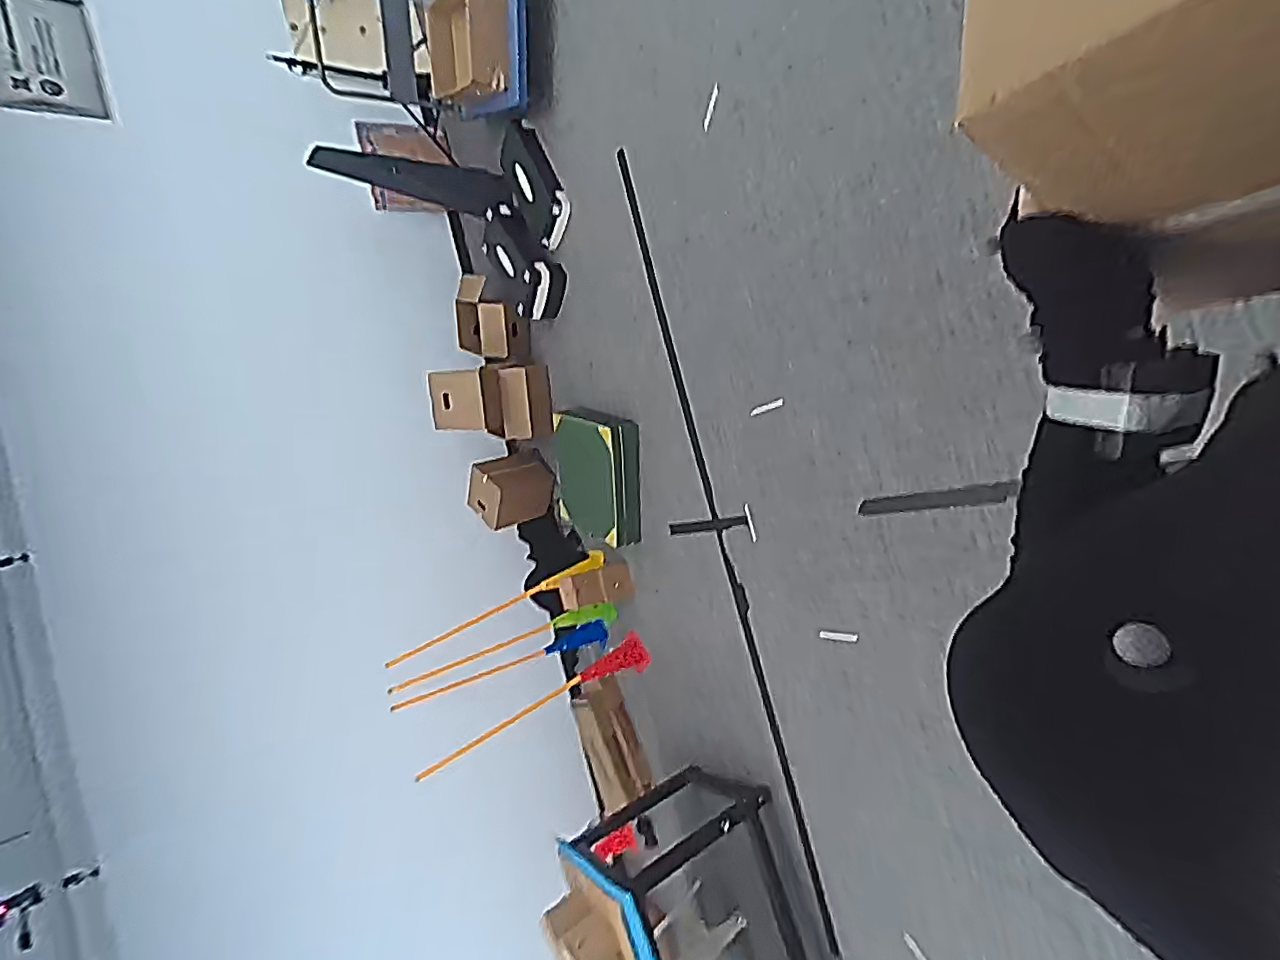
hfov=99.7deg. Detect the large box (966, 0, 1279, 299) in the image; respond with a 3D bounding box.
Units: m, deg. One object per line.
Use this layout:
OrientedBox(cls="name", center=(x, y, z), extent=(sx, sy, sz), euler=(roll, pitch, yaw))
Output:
OrientedBox(cls="large box", center=(0.393, -0.301, 0.170), extent=(0.408, 0.320, 0.320), euler=(1, 85, 57))
